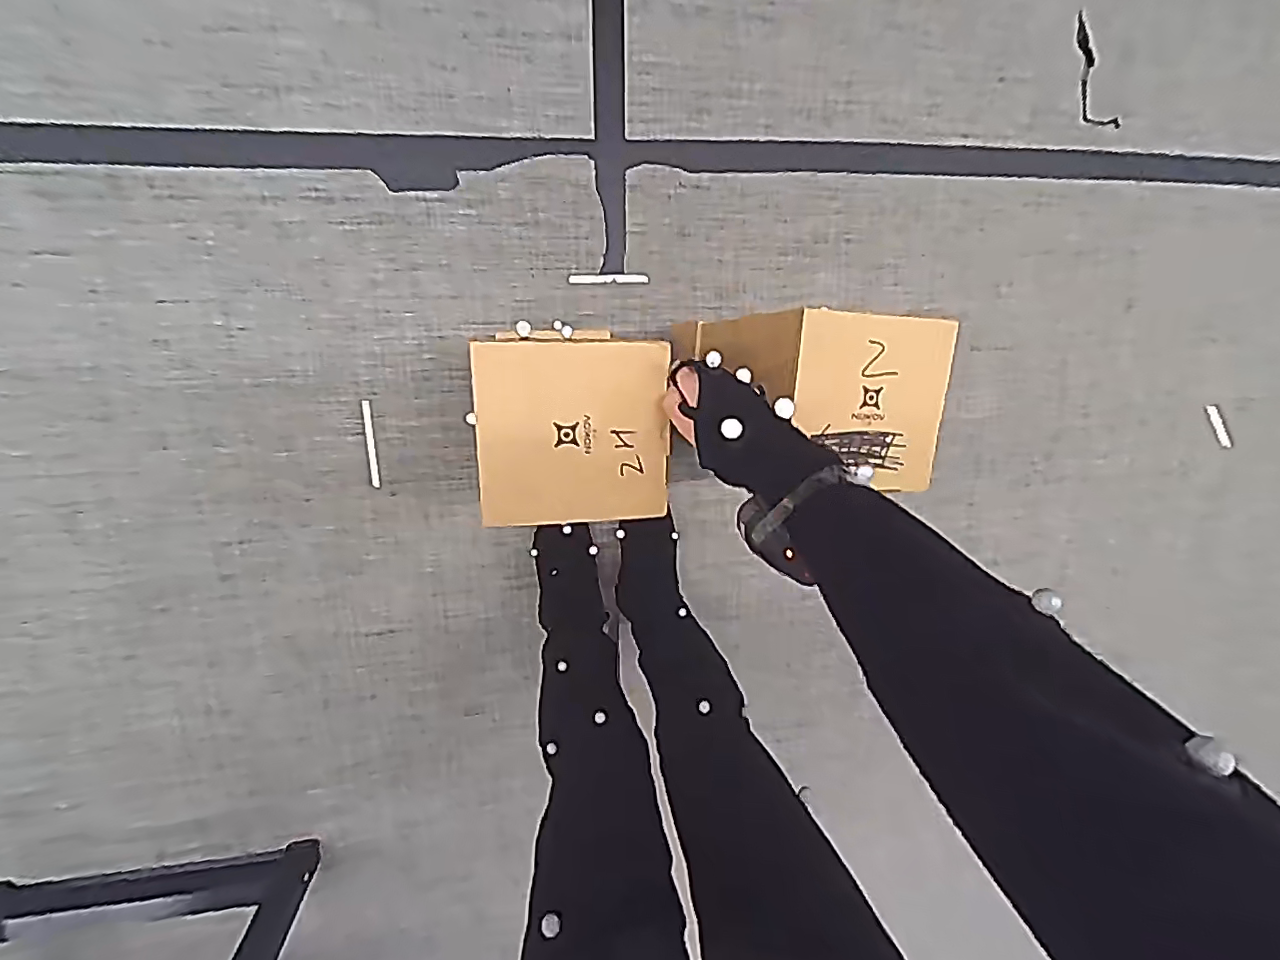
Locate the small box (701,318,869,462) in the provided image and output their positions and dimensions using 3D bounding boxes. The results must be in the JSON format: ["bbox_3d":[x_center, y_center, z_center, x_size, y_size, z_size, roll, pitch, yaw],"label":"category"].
[{"bbox_3d":[0.189,-0.129,0.759,0.168,0.176,0.179,0,103,-11],"label":"small box"}]

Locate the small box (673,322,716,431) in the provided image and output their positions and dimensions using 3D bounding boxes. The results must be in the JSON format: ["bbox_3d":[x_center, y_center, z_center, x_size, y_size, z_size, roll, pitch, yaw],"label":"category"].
[{"bbox_3d":[0.156,-0.175,0.914,0.179,0.176,0.168,1,104,-12],"label":"small box"}]

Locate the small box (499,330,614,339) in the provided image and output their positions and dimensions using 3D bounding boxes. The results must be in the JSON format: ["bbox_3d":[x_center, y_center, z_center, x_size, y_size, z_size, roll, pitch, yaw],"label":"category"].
[{"bbox_3d":[-0.131,-0.148,0.866,0.168,0.176,0.179,-4,104,-11],"label":"small box"}]

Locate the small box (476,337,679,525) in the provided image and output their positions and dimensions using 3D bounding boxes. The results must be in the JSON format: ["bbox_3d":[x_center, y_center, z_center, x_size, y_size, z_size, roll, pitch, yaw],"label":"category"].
[{"bbox_3d":[-0.067,-0.060,0.557,0.179,0.176,0.168,-3,105,-12],"label":"small box"}]
